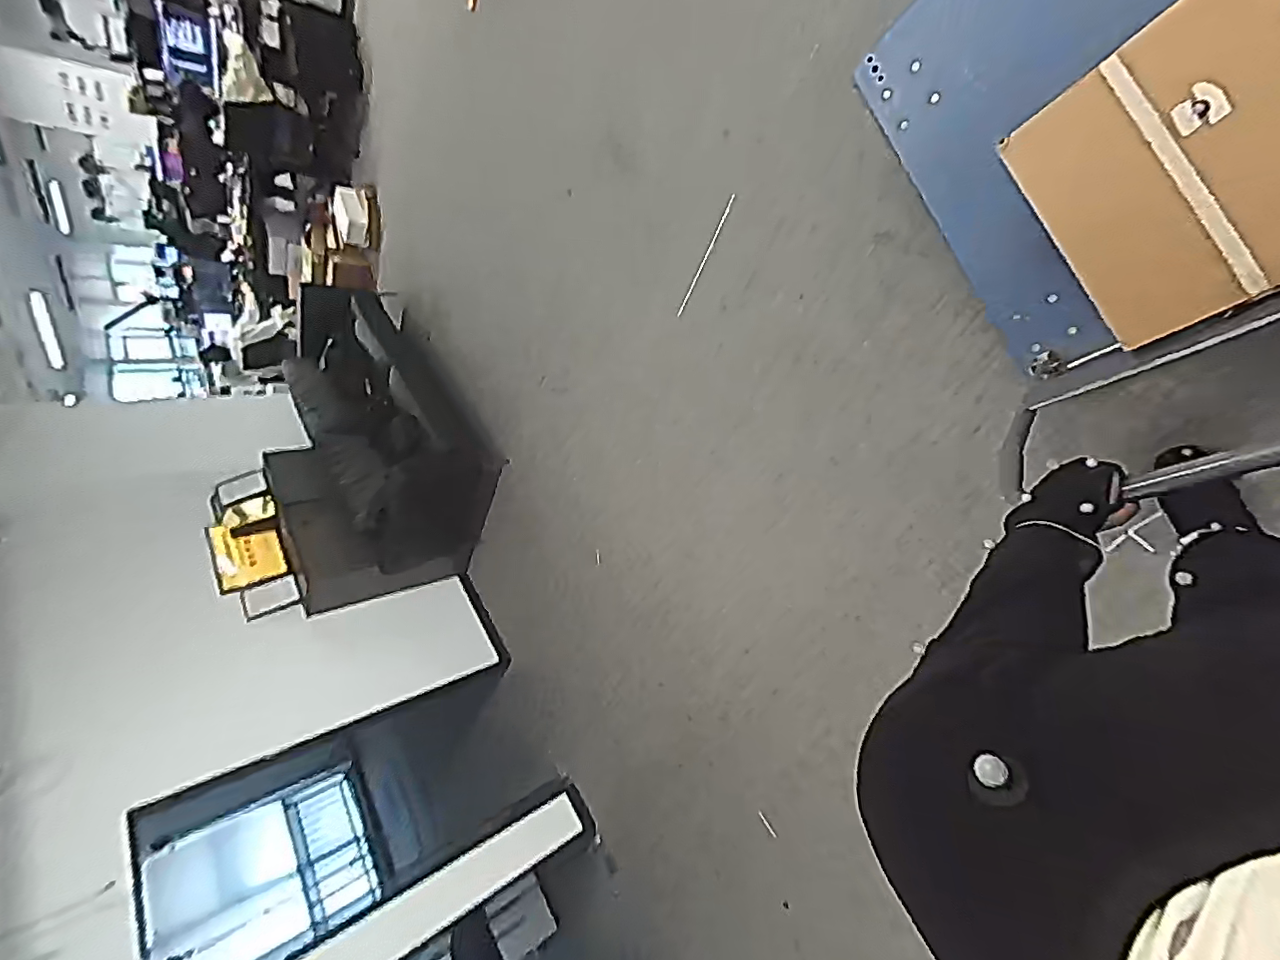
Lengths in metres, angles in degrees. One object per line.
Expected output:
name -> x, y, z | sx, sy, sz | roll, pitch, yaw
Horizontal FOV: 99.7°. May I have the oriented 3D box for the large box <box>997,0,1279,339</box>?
large box -> 0.890, -0.507, 0.893 | 0.320, 0.320, 0.408 | -34, 86, 47
